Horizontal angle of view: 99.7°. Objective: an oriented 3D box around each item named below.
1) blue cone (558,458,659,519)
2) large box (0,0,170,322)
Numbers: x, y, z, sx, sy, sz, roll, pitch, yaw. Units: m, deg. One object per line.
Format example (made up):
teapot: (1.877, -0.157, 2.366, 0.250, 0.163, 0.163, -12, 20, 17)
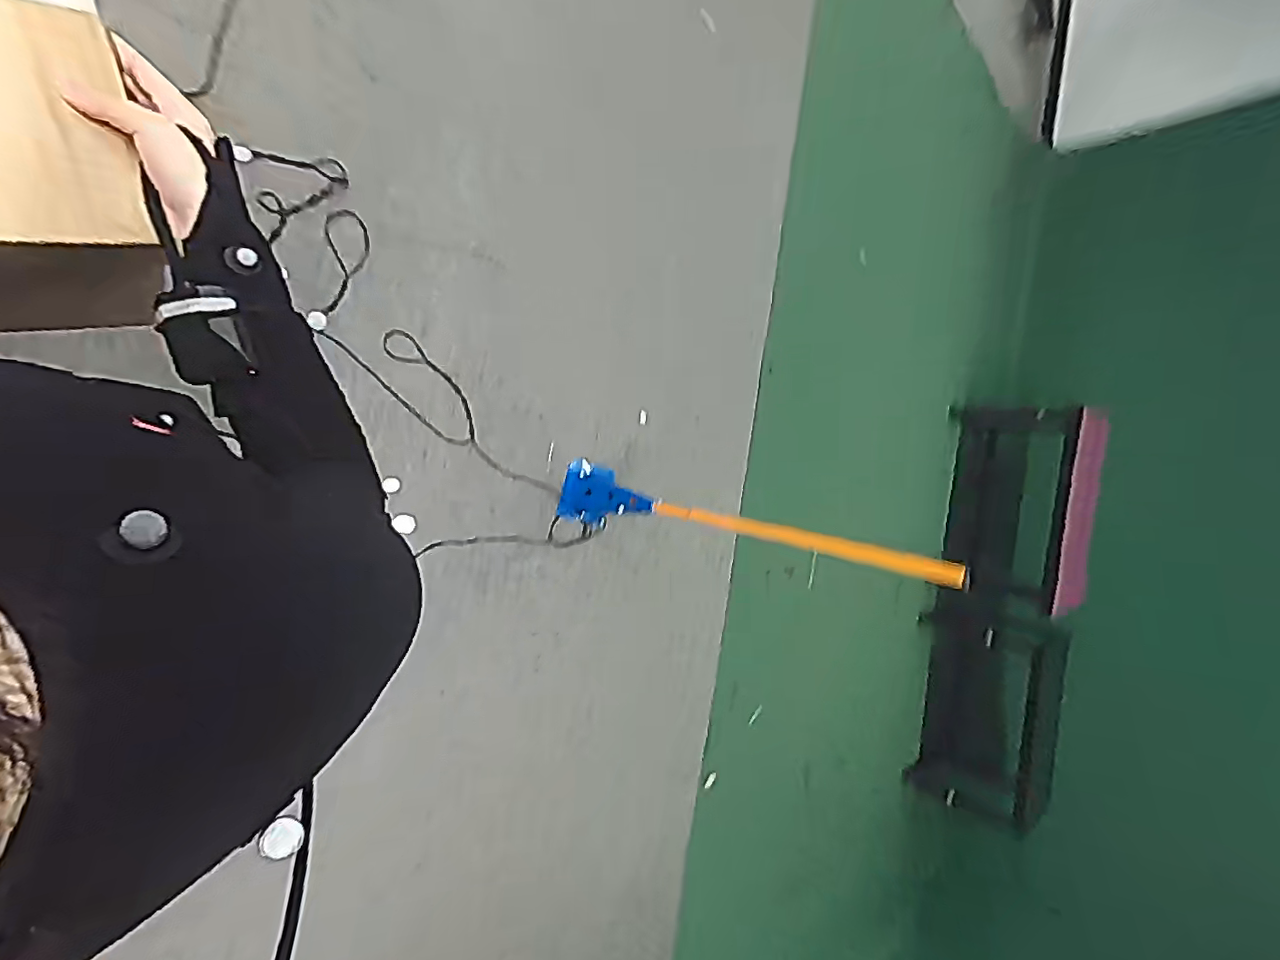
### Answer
blue cone: (-0.084, 0.047, 1.736, 0.192, 0.380, 0.193, 20, 83, -41)
large box: (-0.616, -0.282, 0.351, 0.408, 0.320, 0.320, -18, 104, -42)
